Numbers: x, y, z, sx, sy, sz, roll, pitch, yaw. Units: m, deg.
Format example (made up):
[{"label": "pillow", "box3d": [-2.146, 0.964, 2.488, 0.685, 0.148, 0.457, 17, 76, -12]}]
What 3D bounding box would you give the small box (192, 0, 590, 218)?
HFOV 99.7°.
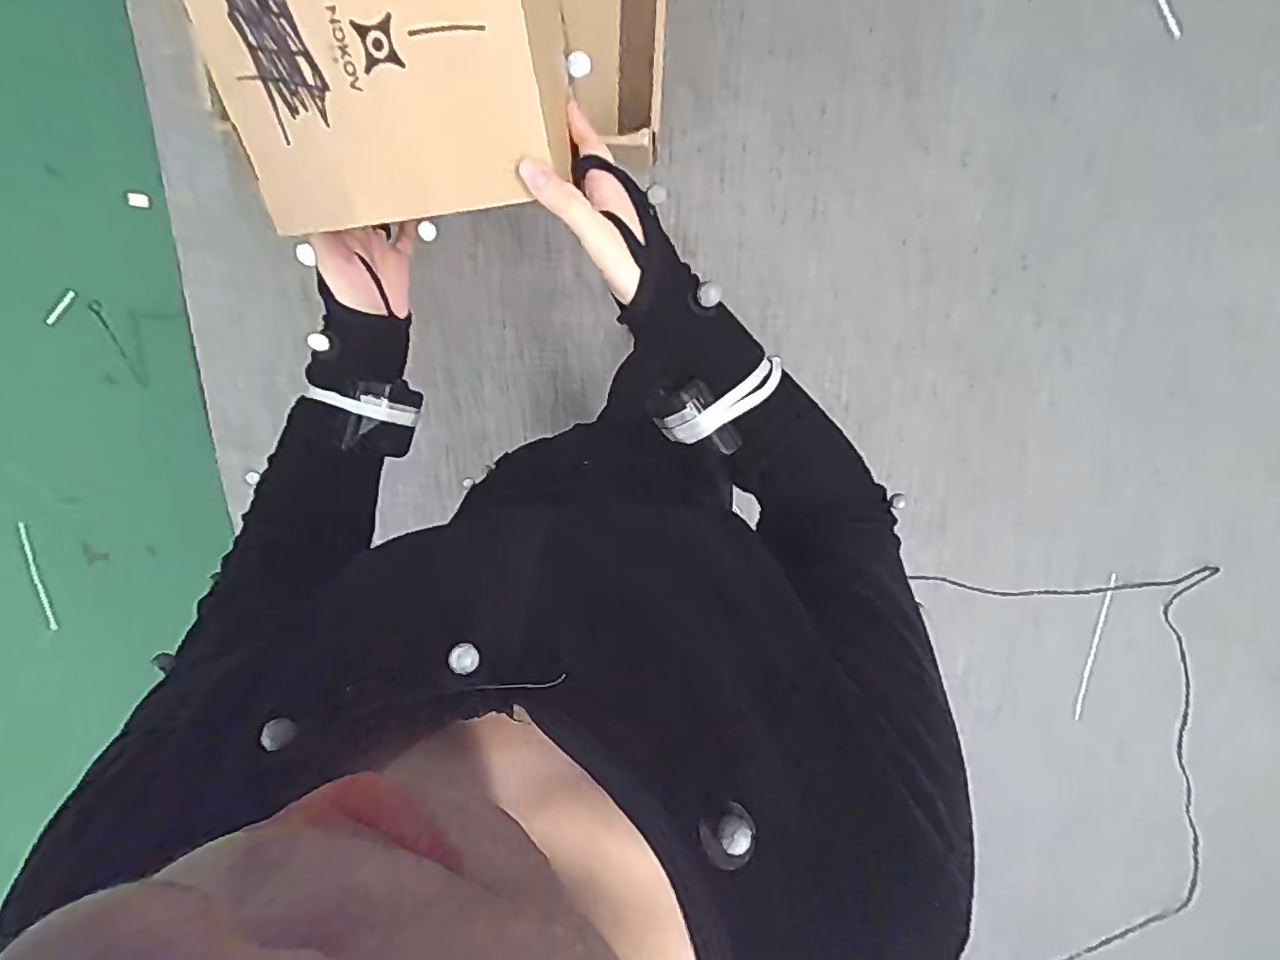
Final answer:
[{"label": "small box", "box3d": [-0.139, -0.272, 0.352, 0.179, 0.176, 0.168, -5, 118, 6]}]
